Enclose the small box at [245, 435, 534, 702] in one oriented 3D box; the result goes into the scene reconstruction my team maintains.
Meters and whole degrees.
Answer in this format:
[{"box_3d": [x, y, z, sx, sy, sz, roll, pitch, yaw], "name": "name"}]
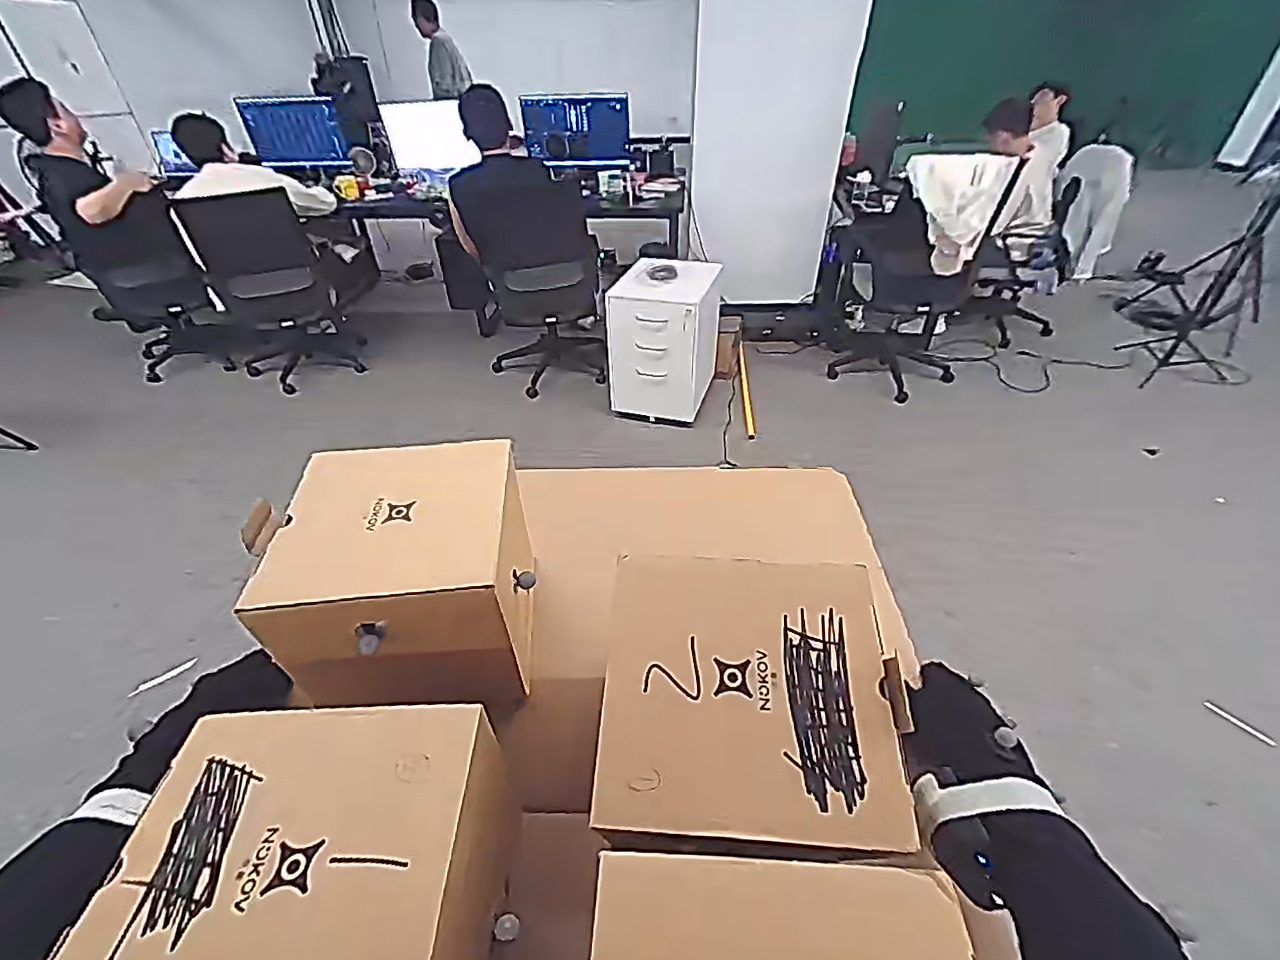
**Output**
[{"box_3d": [-0.195, 0.080, 0.491, 0.179, 0.176, 0.168, -5, 42, -3], "name": "small box"}]
